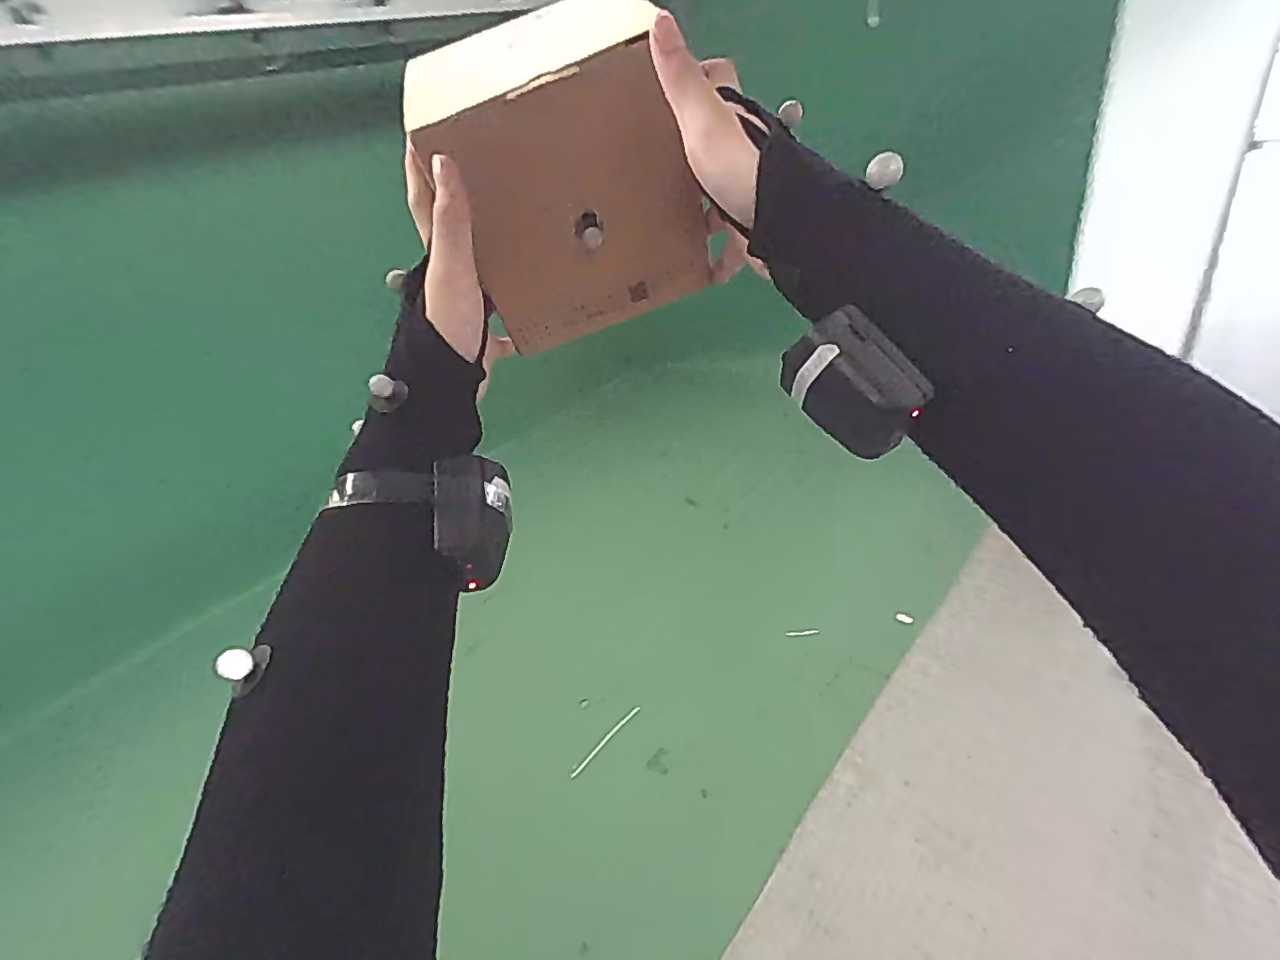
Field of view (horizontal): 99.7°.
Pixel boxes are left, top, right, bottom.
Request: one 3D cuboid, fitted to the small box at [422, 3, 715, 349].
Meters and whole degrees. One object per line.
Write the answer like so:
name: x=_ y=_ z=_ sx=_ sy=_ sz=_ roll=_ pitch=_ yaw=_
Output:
small box: x=-0.050 y=-0.226 z=0.426 sx=0.168 sy=0.176 sz=0.179 roll=-21 pitch=50 yaw=1
